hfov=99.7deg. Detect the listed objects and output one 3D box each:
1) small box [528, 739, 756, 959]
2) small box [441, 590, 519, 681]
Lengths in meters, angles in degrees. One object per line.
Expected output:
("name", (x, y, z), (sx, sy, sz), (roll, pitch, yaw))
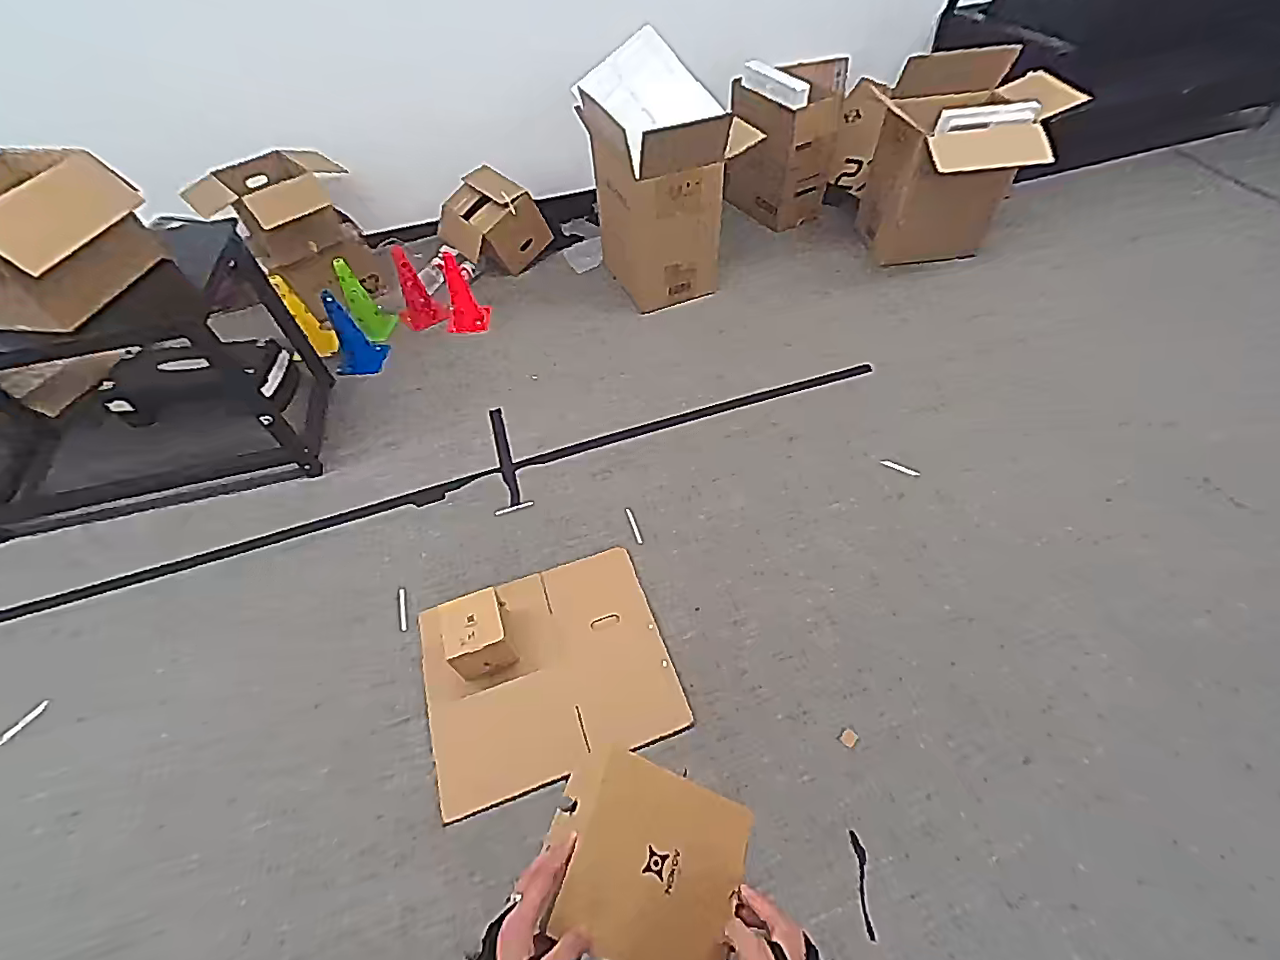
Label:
("small box", (-0.004, 0.409, 0.586), (0.179, 0.176, 0.168), (27, 53, -4))
("small box", (-0.463, 0.457, 1.578), (0.168, 0.176, 0.179), (-18, 53, -9))
